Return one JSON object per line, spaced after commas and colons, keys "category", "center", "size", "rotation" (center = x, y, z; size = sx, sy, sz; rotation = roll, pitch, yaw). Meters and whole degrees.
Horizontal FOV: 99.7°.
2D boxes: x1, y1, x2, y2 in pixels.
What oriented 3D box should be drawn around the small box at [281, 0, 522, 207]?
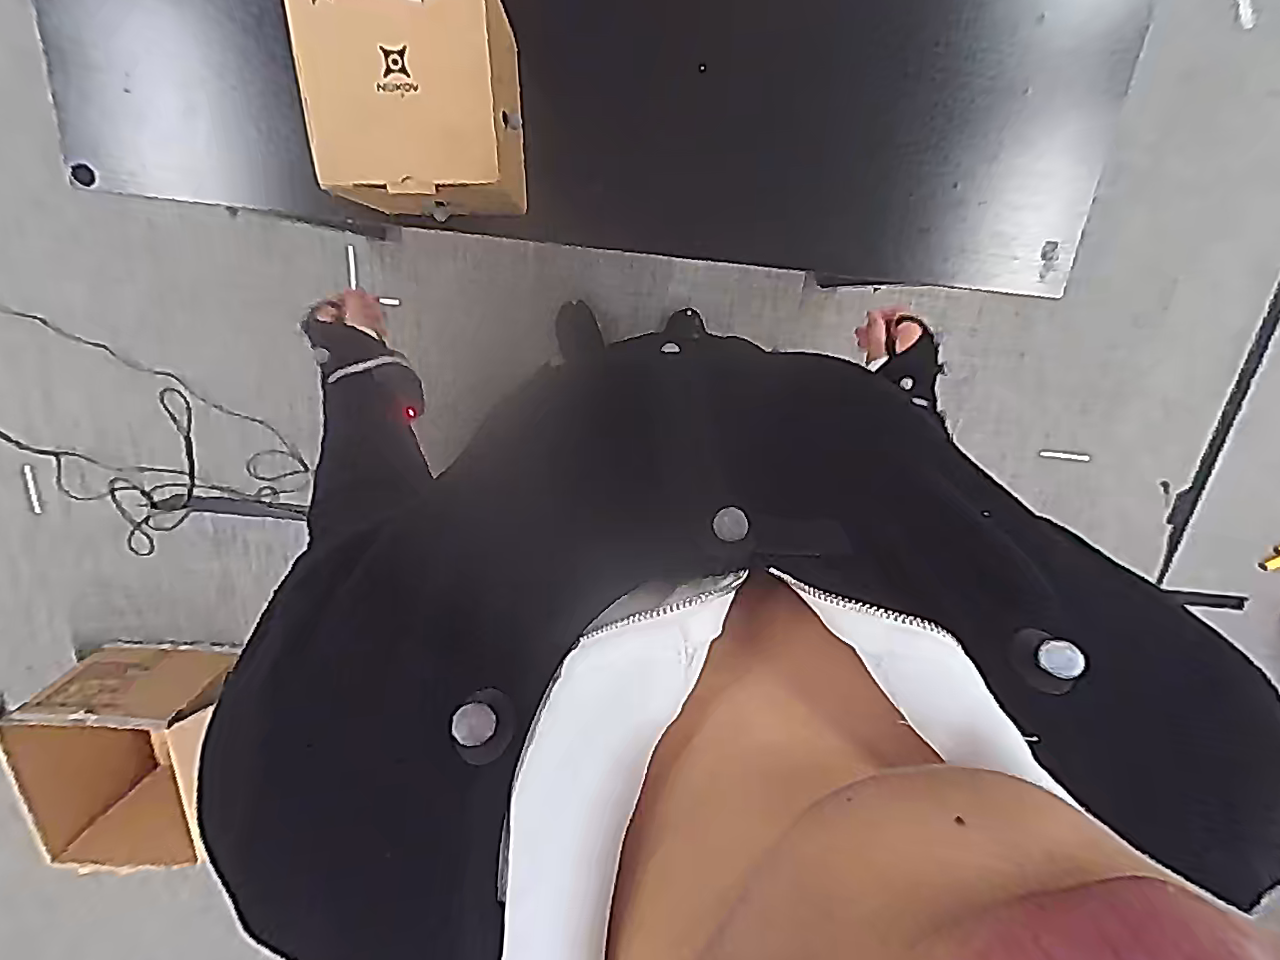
{"category": "small box", "center": [-0.217, -0.378, 0.539], "size": [0.168, 0.176, 0.179], "rotation": [-1, 109, -3]}
